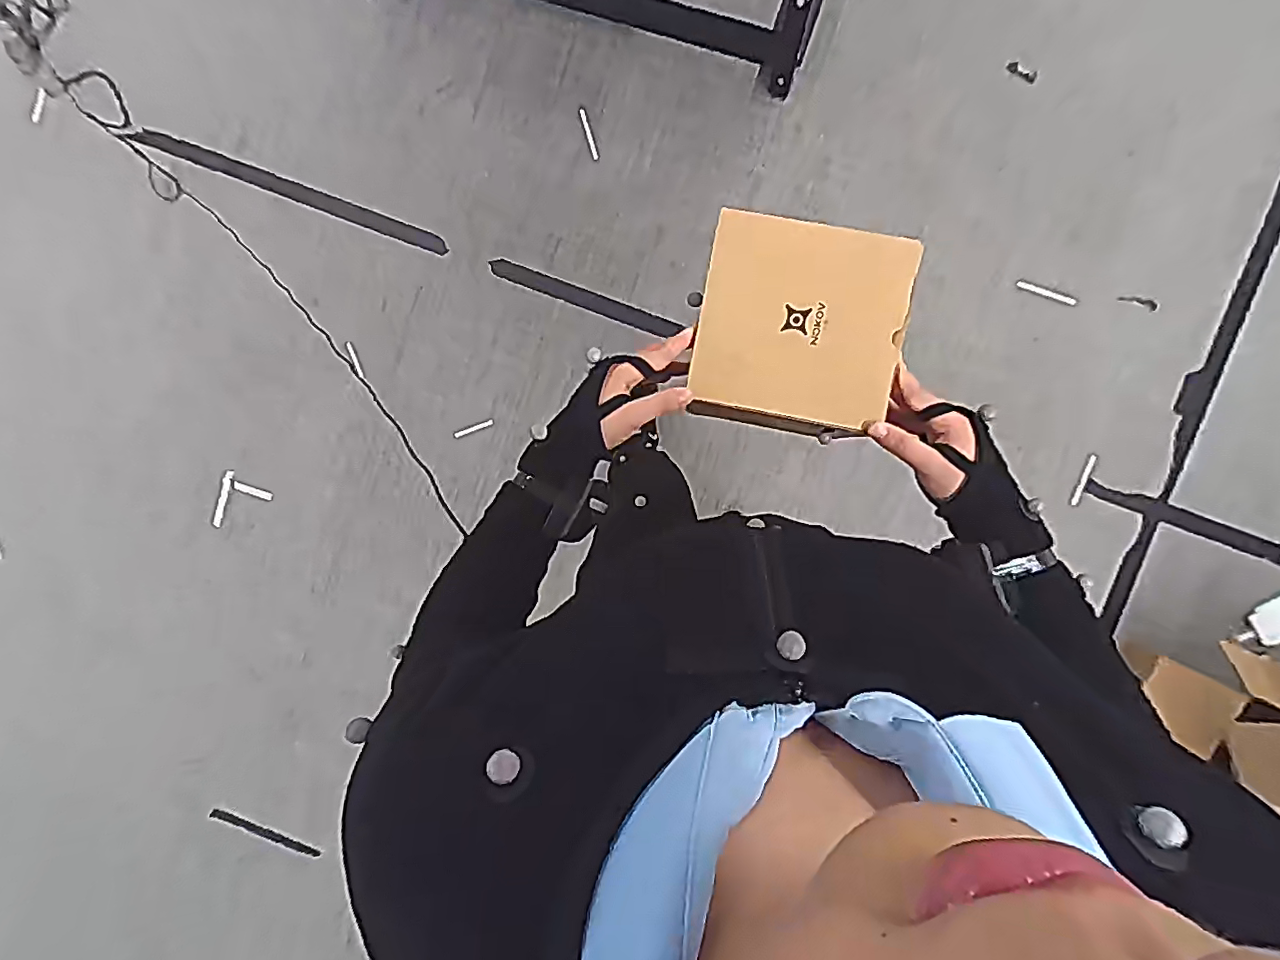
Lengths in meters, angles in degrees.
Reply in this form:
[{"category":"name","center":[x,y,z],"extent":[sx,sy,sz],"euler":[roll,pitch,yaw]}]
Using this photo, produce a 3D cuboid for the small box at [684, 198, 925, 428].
[{"category":"small box","center":[0.142,-0.147,0.536],"extent":[0.179,0.176,0.168],"euler":[11,93,2]}]
